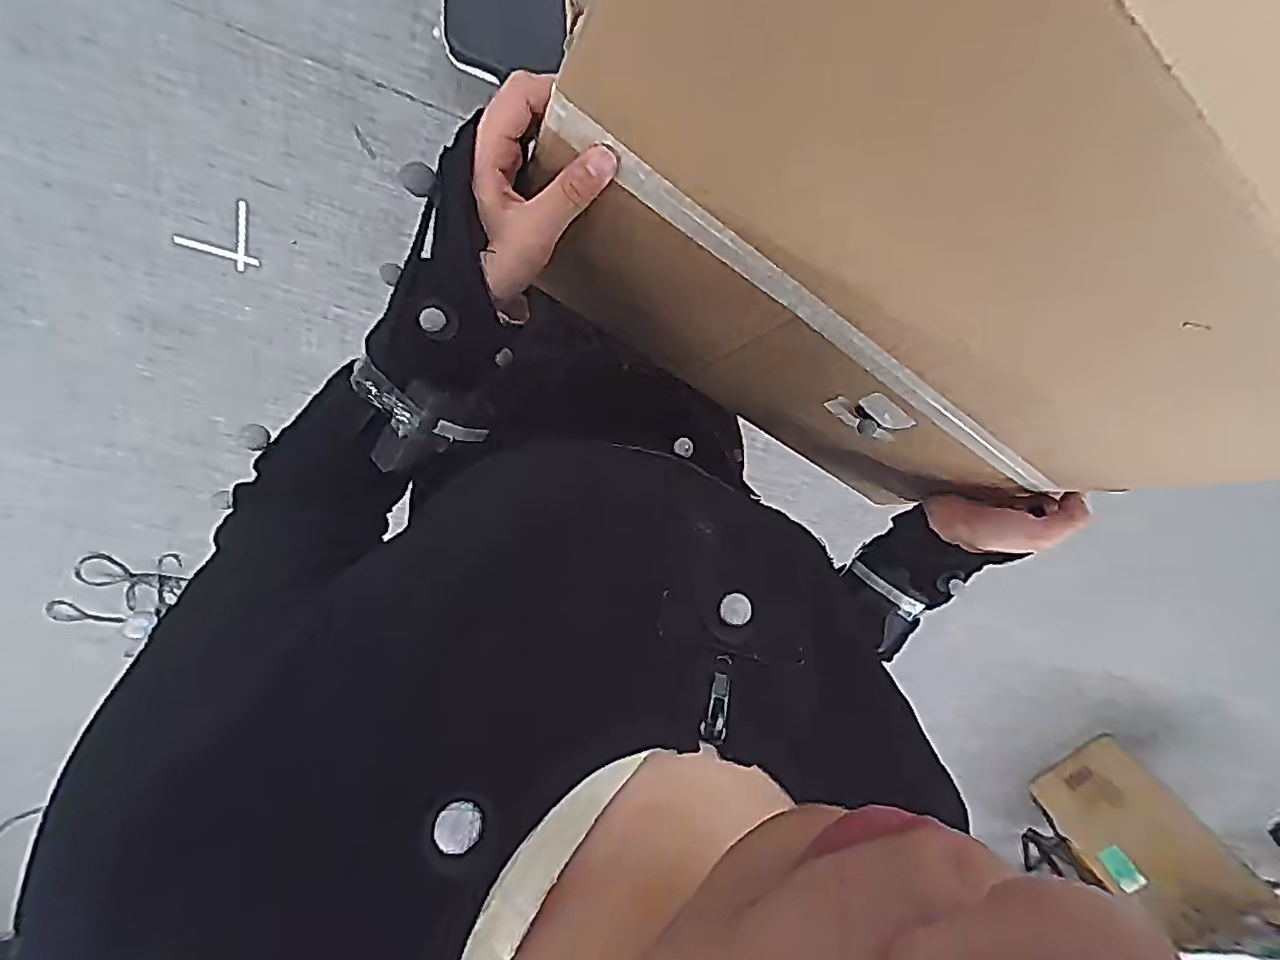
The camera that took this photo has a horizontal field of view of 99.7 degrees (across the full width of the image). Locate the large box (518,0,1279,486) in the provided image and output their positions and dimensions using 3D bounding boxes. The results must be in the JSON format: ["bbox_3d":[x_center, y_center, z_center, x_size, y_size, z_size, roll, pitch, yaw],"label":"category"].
[{"bbox_3d":[0.196,-0.230,0.327,0.408,0.320,0.320,27,74,-20],"label":"large box"}]
